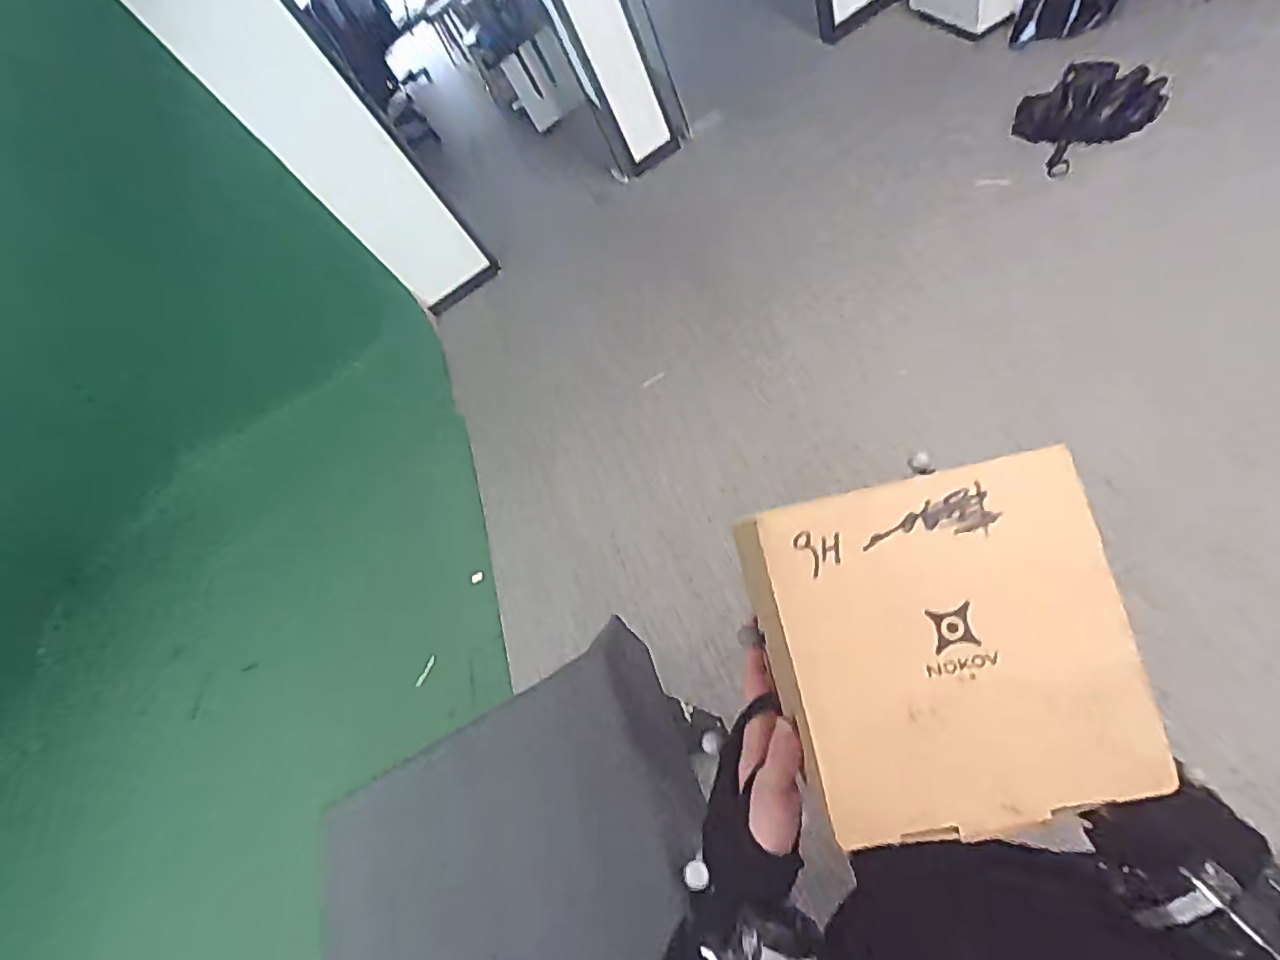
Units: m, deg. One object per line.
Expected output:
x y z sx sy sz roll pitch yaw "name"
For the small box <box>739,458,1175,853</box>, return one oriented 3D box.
0.170 0.094 0.354 0.168 0.176 0.179 -13 84 3 "small box"
